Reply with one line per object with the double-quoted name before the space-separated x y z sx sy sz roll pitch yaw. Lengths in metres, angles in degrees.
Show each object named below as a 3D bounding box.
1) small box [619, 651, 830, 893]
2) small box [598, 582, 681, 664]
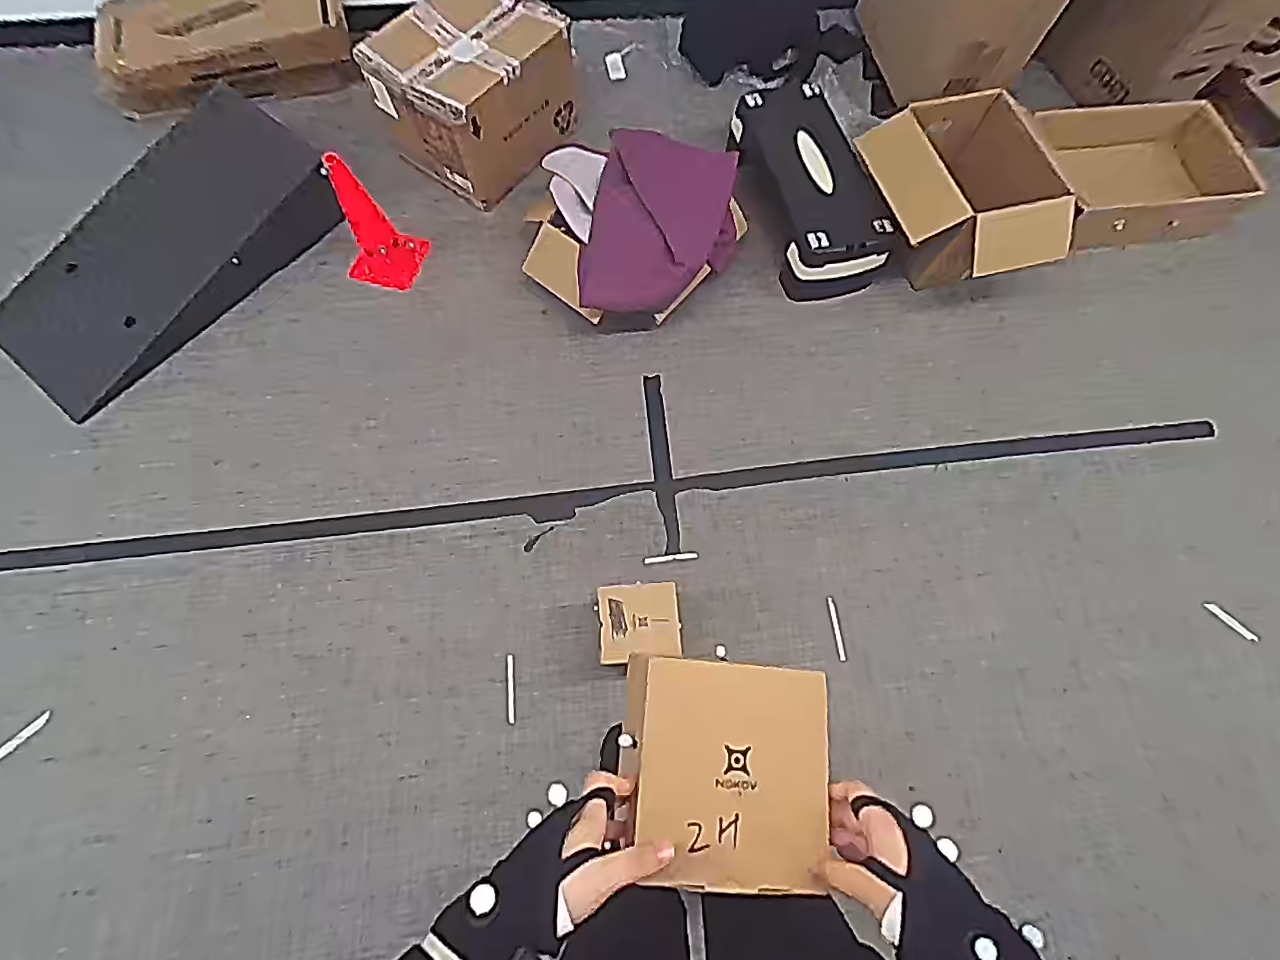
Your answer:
"small box" 0.072 0.268 0.535 0.168 0.176 0.179 7 73 -5
"small box" -0.004 0.333 1.244 0.179 0.176 0.168 -3 71 -3
